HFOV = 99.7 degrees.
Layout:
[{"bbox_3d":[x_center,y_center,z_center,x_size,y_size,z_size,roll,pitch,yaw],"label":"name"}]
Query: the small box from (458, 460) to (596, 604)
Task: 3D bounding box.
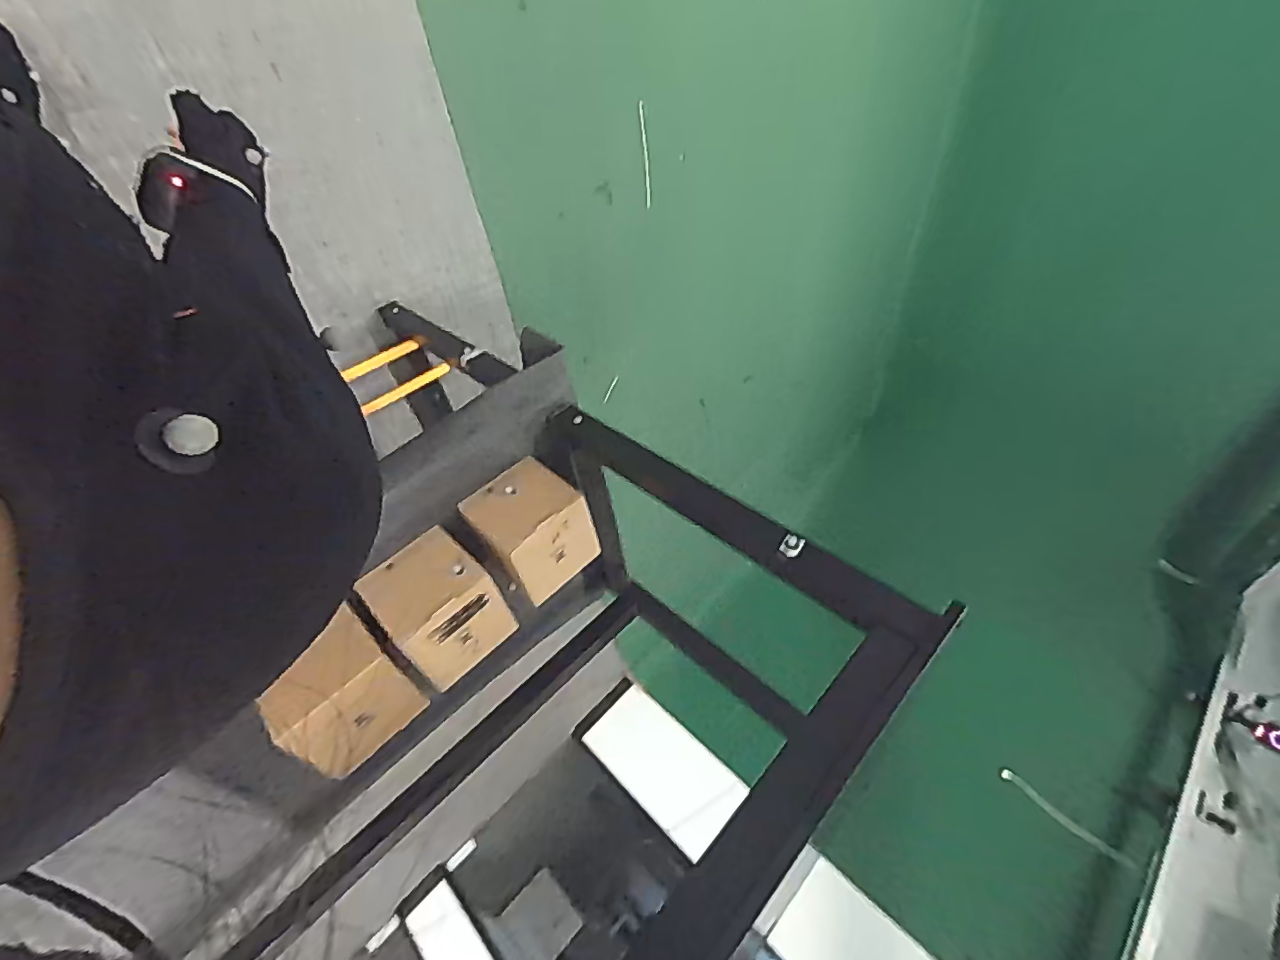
[{"bbox_3d":[-0.211,0.093,1.022,0.168,0.176,0.179,-40,142,-25],"label":"small box"}]
